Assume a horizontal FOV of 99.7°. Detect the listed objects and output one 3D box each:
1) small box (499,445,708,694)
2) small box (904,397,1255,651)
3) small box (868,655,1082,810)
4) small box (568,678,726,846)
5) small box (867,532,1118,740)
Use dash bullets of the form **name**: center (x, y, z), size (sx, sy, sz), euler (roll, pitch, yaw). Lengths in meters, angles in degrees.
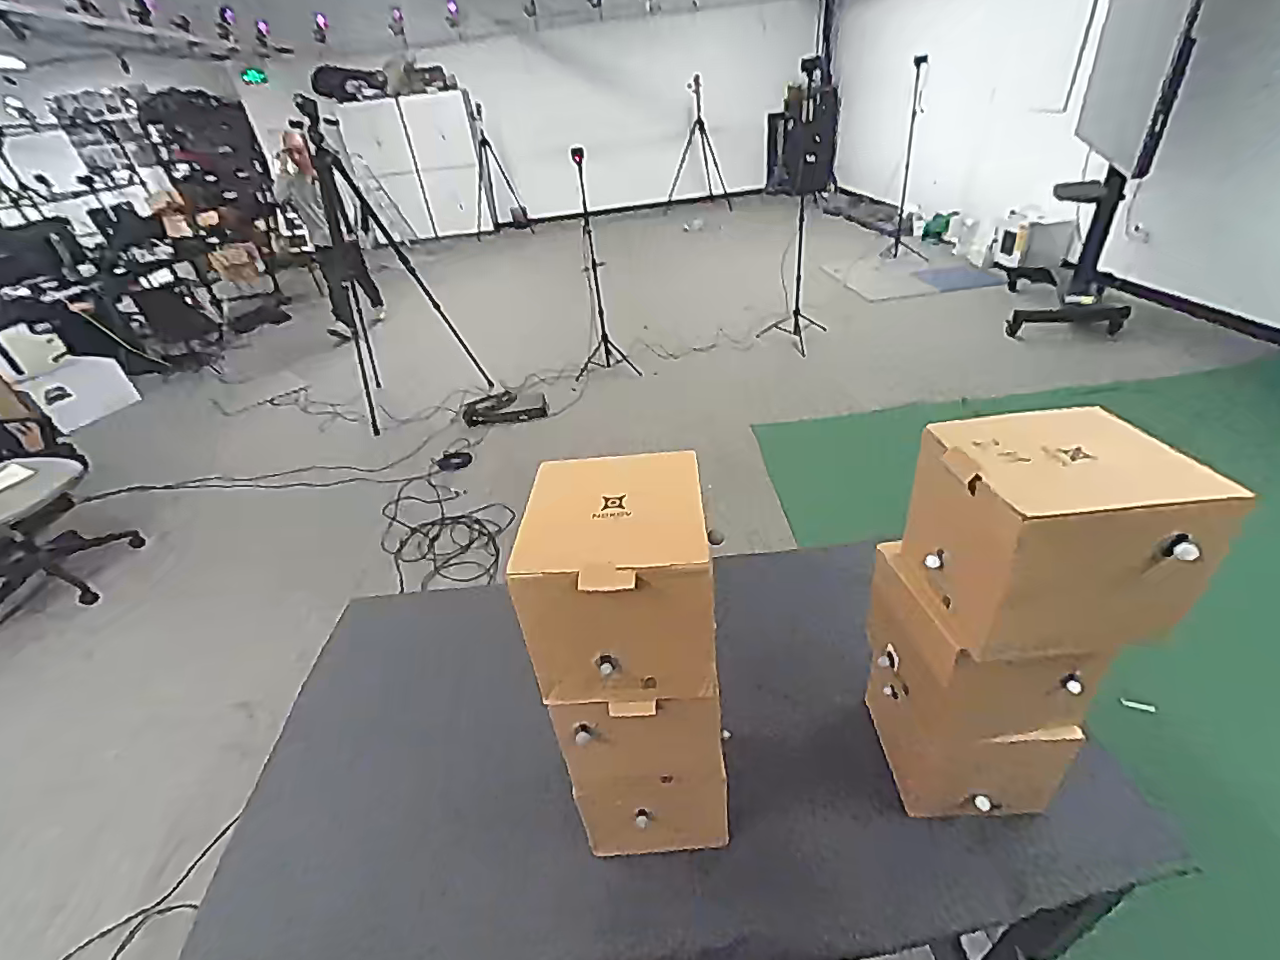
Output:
- **small box**: center (-0.022, 0.084, 0.532), size (0.168, 0.176, 0.179), euler (-4, 34, 4)
- **small box**: center (0.378, 0.039, 0.511), size (0.179, 0.176, 0.168), euler (-7, 32, 3)
- **small box**: center (0.413, 0.300, 0.708), size (0.168, 0.176, 0.179), euler (-5, 34, 5)
- **small box**: center (0.013, 0.355, 0.713), size (0.179, 0.176, 0.168), euler (-7, 34, 2)
- **small box**: center (0.383, 0.167, 0.619), size (0.179, 0.176, 0.168), euler (-10, 32, -1)
